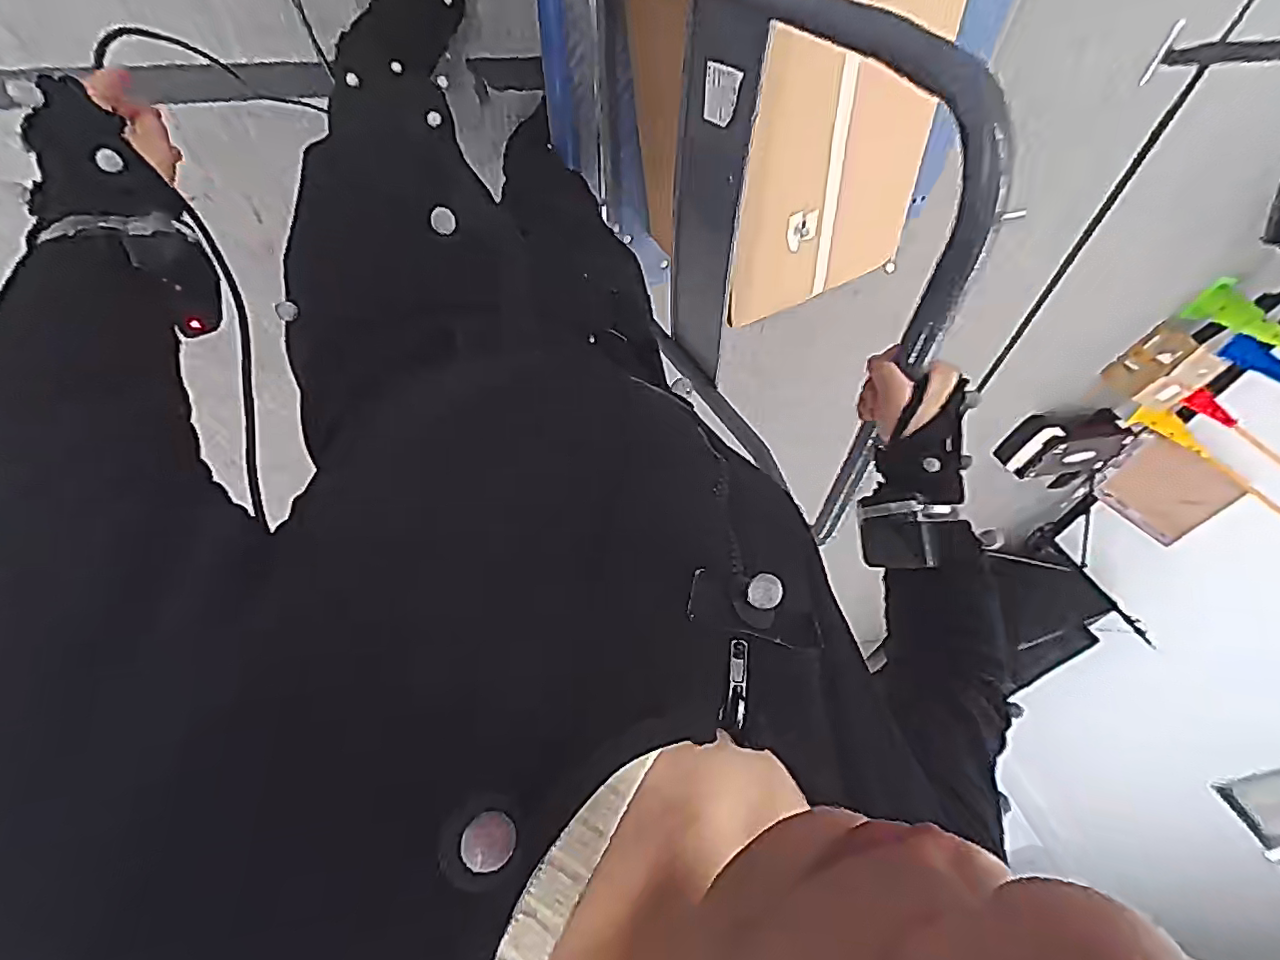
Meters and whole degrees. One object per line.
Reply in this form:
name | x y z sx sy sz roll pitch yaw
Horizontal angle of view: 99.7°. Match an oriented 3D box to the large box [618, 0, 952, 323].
large box | 0.188 -0.531 0.815 0.320 0.320 0.408 -23 146 -7
